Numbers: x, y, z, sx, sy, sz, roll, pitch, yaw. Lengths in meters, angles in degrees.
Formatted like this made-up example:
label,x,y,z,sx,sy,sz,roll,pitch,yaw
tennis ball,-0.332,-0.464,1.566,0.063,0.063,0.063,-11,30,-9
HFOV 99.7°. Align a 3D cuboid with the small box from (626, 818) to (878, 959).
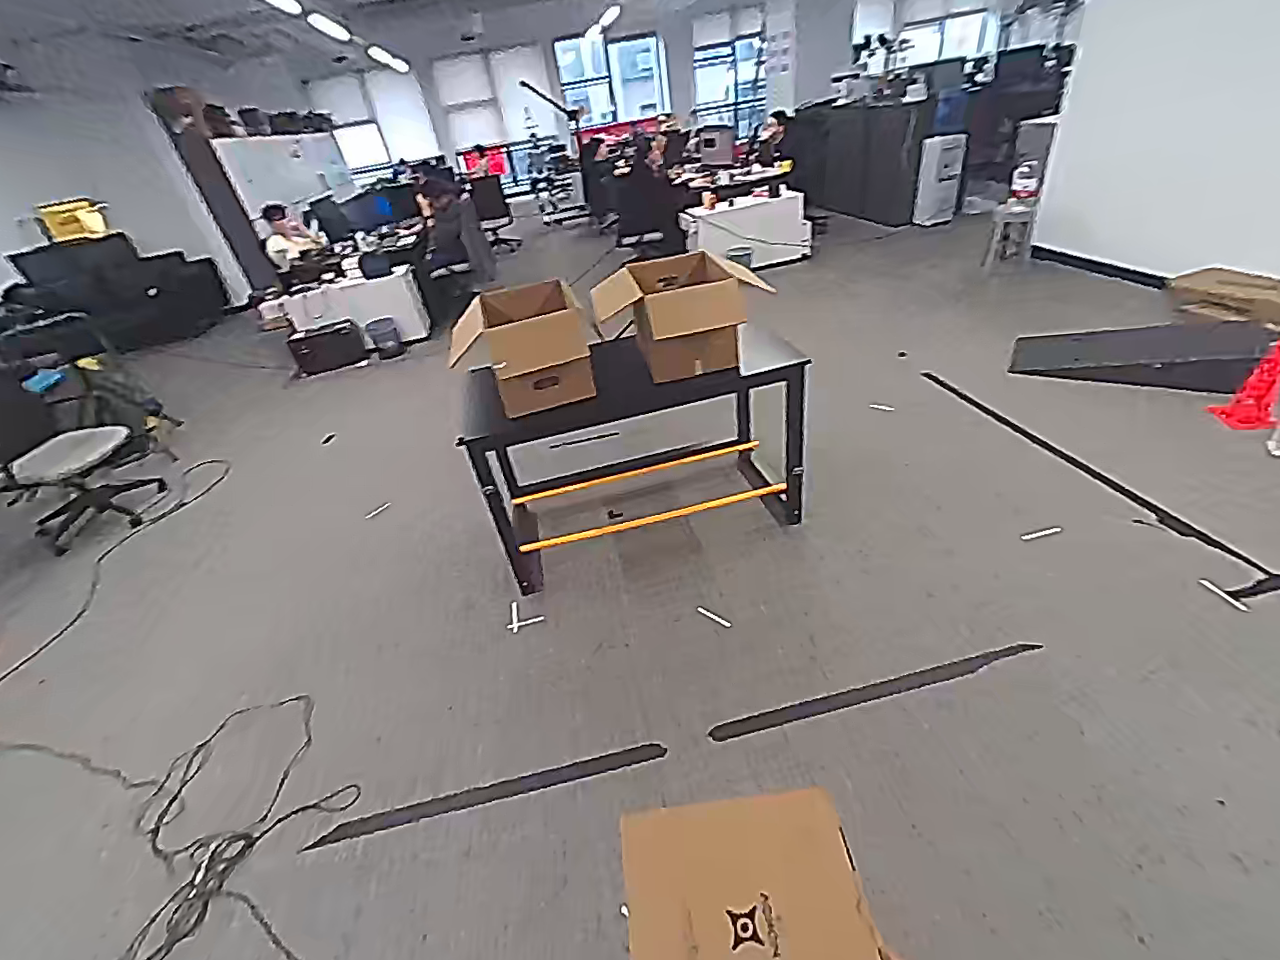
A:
label,x,y,z,sx,sy,sz,roll,pitch,yaw
small box,0.090,0.402,0.443,0.179,0.176,0.168,-9,44,-1
